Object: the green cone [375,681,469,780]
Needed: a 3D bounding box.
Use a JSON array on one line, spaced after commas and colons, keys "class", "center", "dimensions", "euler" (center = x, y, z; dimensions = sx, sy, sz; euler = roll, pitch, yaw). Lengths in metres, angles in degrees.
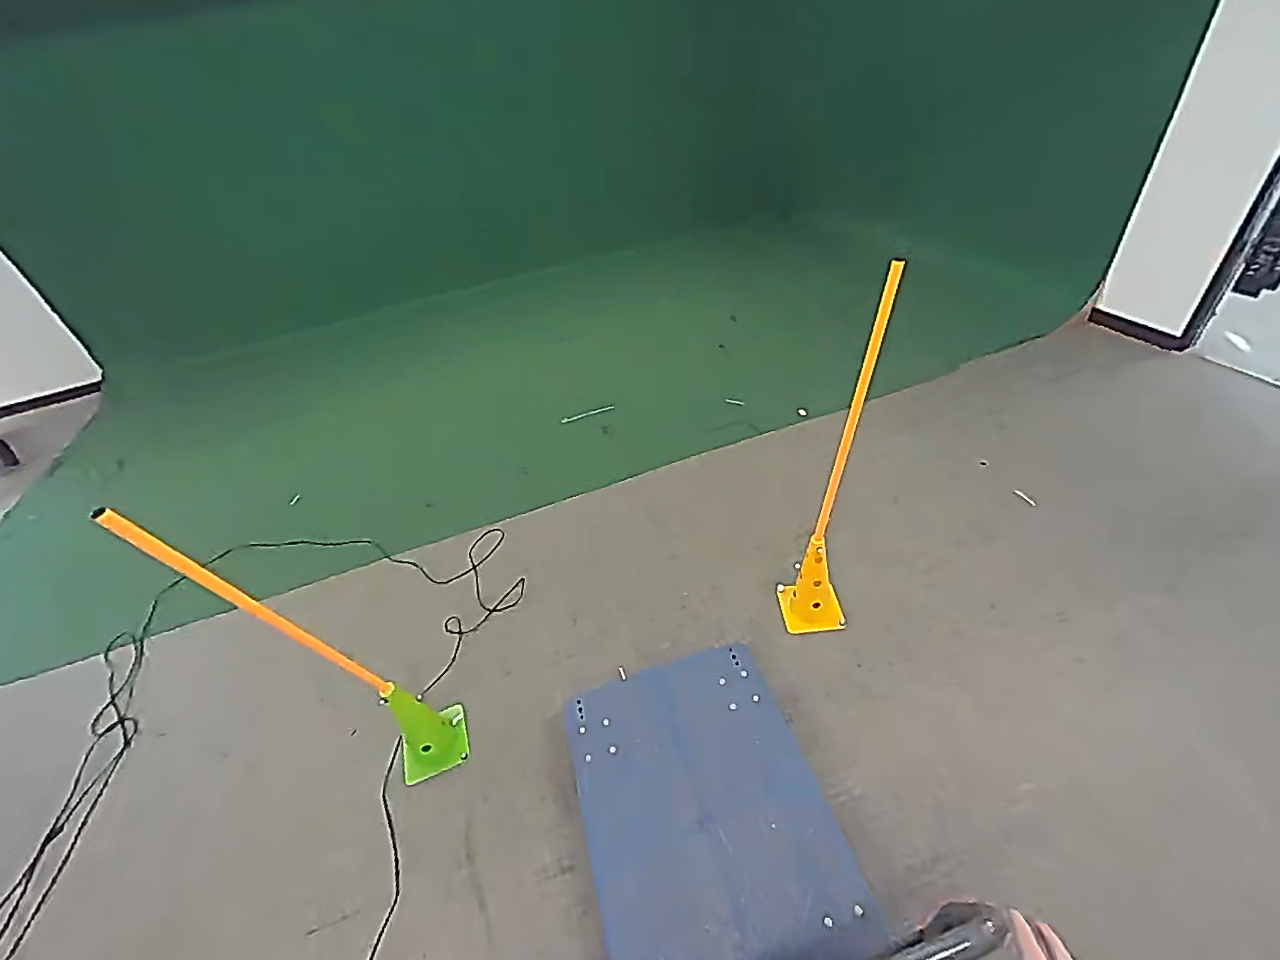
[{"class": "green cone", "center": [-0.685, 0.705, 1.626], "dimensions": [0.202, 0.368, 0.200], "euler": [-22, 41, -11]}]
